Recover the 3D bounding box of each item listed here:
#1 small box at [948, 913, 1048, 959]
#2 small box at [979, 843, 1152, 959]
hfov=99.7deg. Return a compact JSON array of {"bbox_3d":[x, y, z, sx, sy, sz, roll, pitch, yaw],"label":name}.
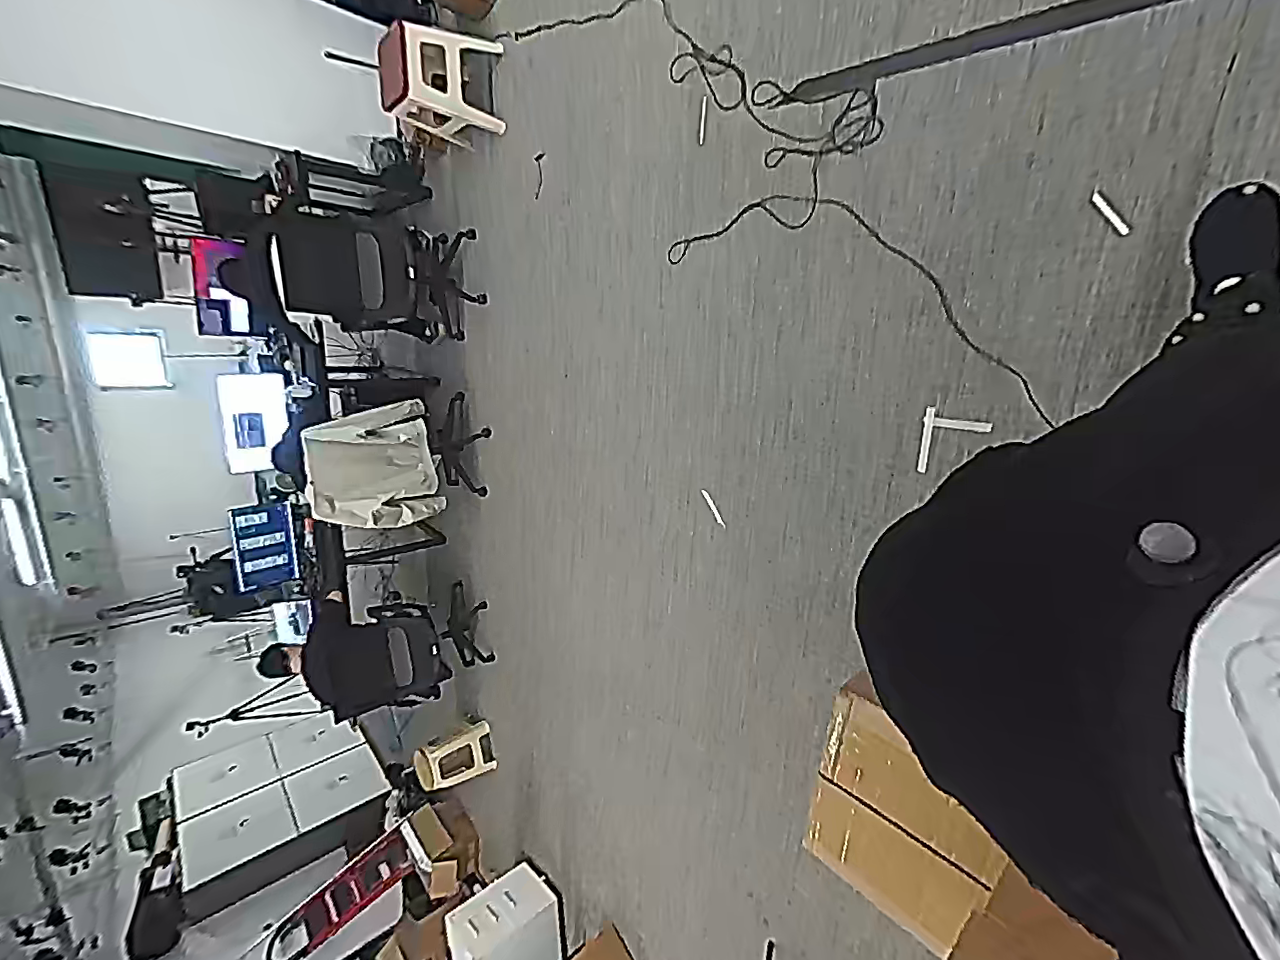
[{"bbox_3d":[0.443,0.679,0.637,0.179,0.176,0.168,21,112,46],"label":"small box"},{"bbox_3d":[0.567,0.663,0.744,0.168,0.176,0.179,21,111,45],"label":"small box"}]
